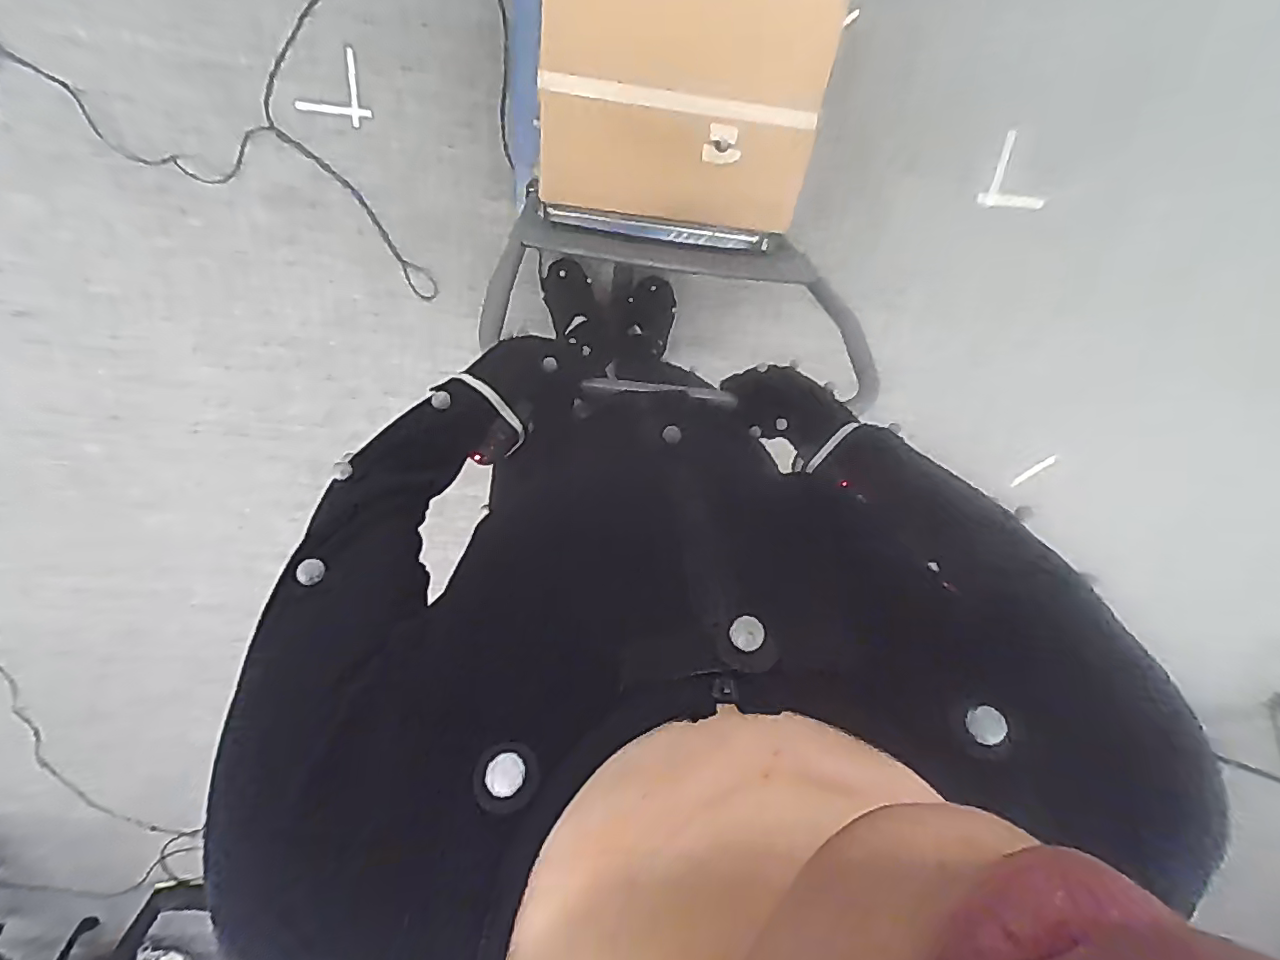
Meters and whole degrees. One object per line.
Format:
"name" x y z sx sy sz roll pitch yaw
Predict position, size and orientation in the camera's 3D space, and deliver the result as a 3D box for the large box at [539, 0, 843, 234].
"large box" 0.045 -0.621 0.893 0.408 0.320 0.320 3 127 -8
